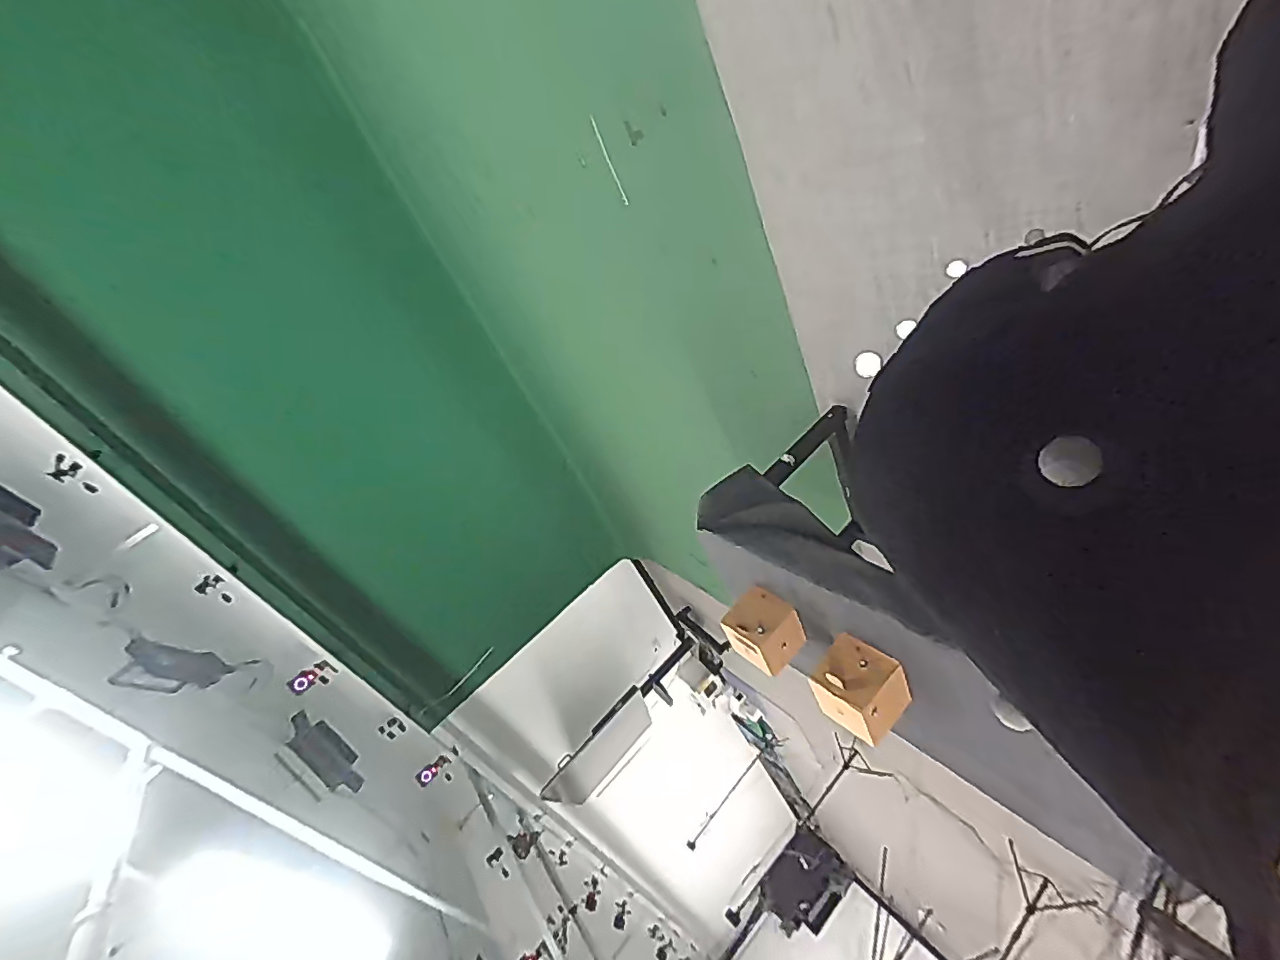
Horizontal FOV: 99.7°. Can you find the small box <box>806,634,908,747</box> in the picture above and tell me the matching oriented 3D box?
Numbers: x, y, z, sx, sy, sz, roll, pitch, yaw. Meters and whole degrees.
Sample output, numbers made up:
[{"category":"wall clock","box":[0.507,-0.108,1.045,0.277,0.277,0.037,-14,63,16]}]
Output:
[{"category":"small box","box":[0.568,0.539,1.402,0.168,0.176,0.179,23,148,53]}]
